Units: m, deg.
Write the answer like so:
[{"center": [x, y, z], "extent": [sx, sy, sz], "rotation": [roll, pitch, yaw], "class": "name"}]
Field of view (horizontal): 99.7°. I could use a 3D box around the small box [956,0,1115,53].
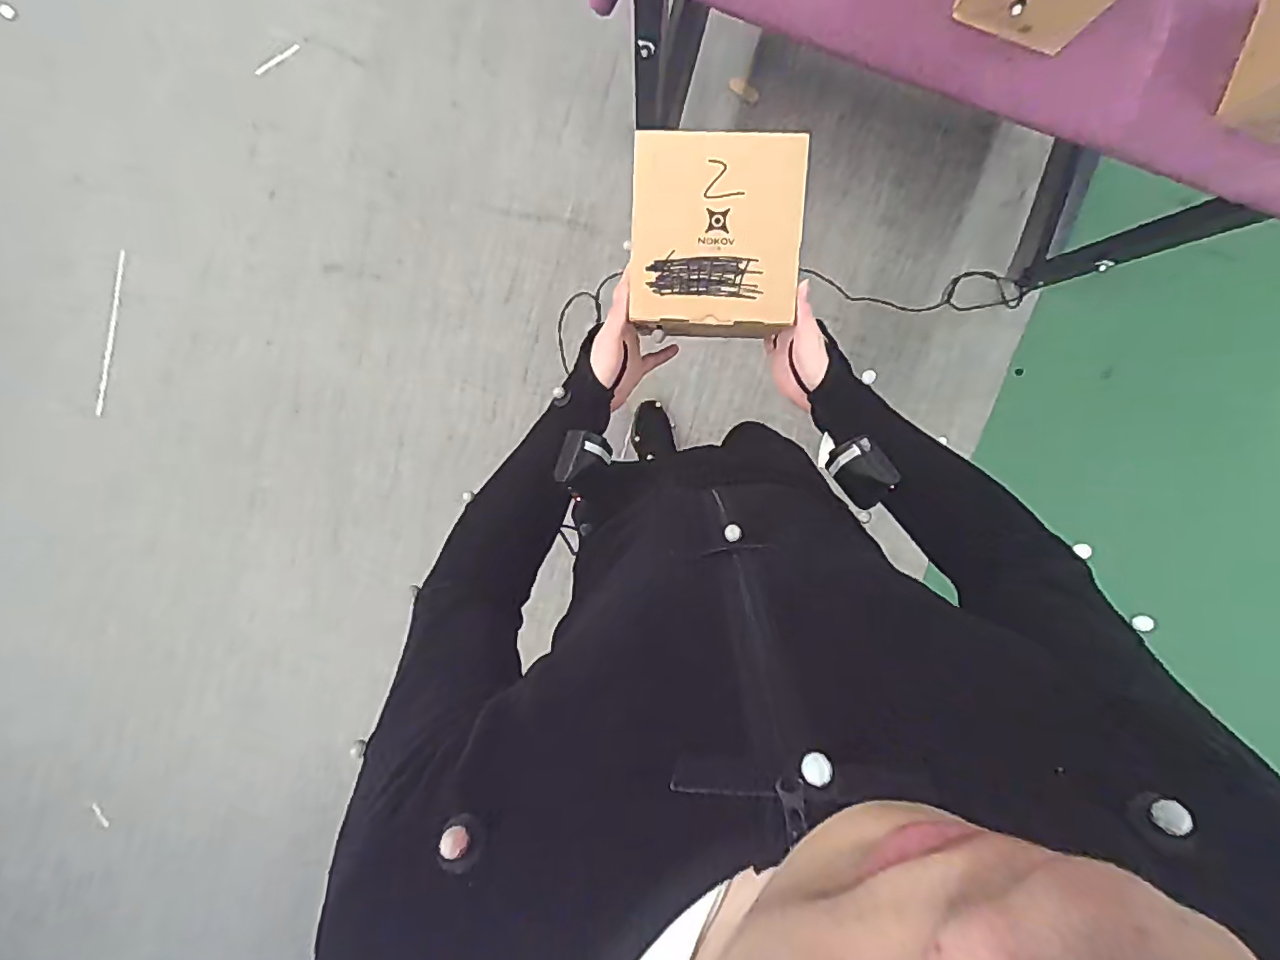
[{"center": [0.554, -0.720, 0.702], "extent": [0.168, 0.176, 0.179], "rotation": [18, 98, -4], "class": "small box"}]
